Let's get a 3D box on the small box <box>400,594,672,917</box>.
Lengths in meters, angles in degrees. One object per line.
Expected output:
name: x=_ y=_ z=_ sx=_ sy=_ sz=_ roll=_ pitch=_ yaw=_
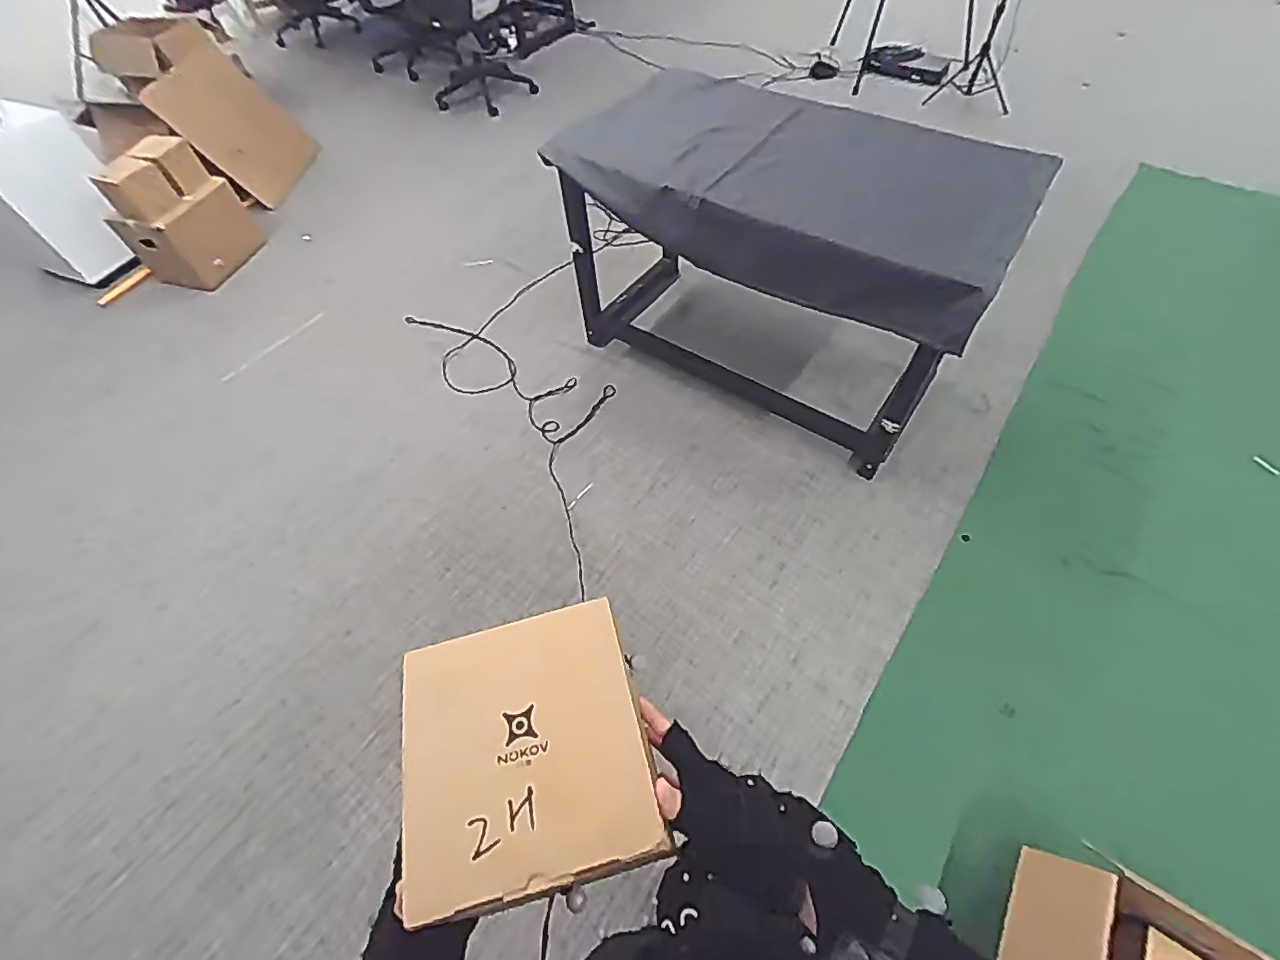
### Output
small box: x=-0.076 y=0.223 z=0.440 sx=0.168 sy=0.176 sz=0.179 roll=-15 pitch=54 yaw=-4
